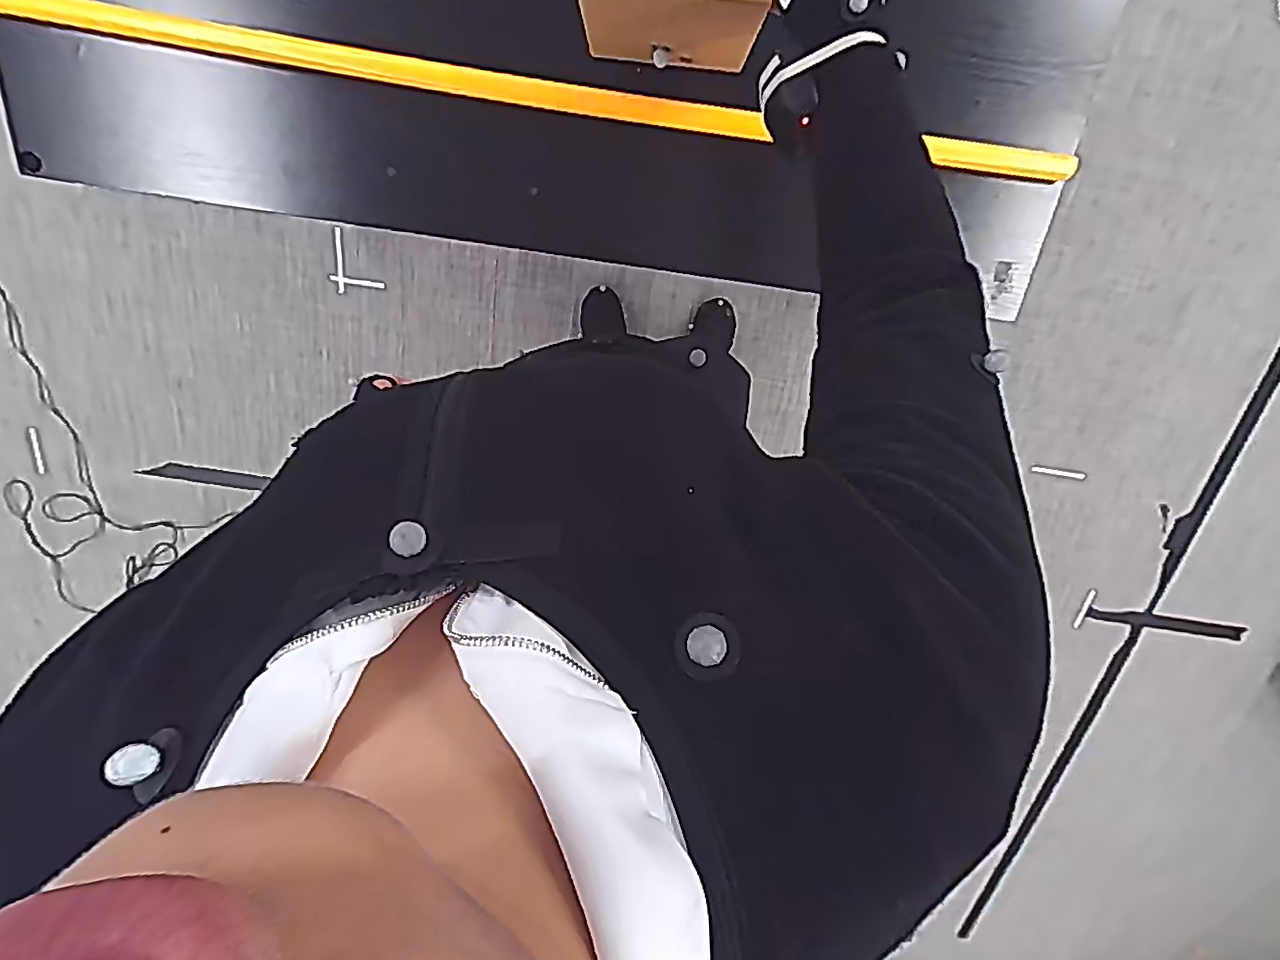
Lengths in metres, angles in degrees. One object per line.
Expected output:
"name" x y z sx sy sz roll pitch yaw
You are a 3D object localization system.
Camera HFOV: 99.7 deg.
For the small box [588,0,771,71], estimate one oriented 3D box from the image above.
"small box" 0.038 -0.511 0.489 0.168 0.176 0.179 5 111 -1
